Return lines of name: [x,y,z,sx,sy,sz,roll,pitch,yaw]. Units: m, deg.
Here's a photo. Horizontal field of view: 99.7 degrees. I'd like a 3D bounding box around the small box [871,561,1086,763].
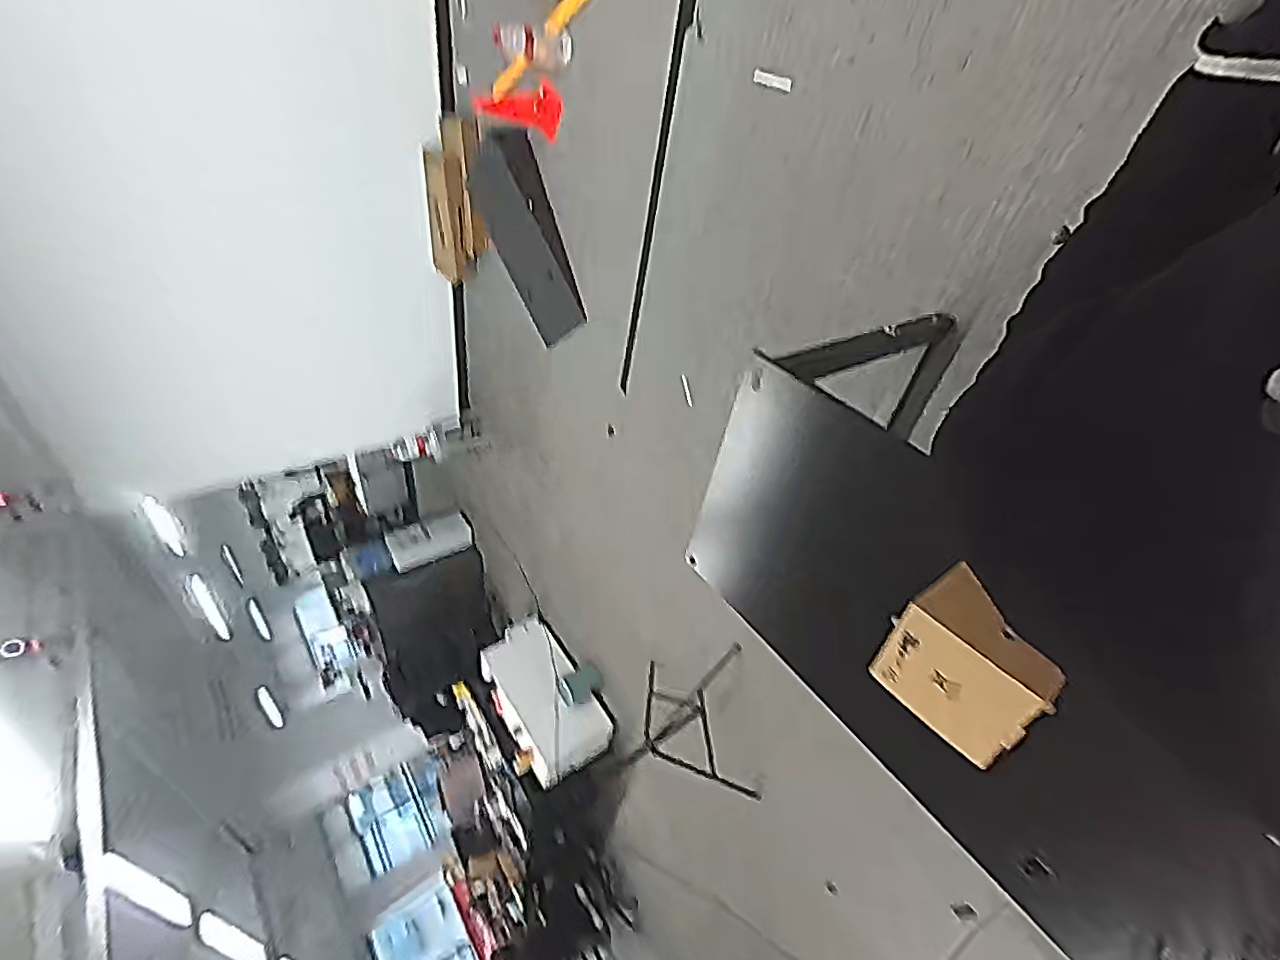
small box: [0.474,0.245,0.764,0.179,0.176,0.168,40,138,36]
